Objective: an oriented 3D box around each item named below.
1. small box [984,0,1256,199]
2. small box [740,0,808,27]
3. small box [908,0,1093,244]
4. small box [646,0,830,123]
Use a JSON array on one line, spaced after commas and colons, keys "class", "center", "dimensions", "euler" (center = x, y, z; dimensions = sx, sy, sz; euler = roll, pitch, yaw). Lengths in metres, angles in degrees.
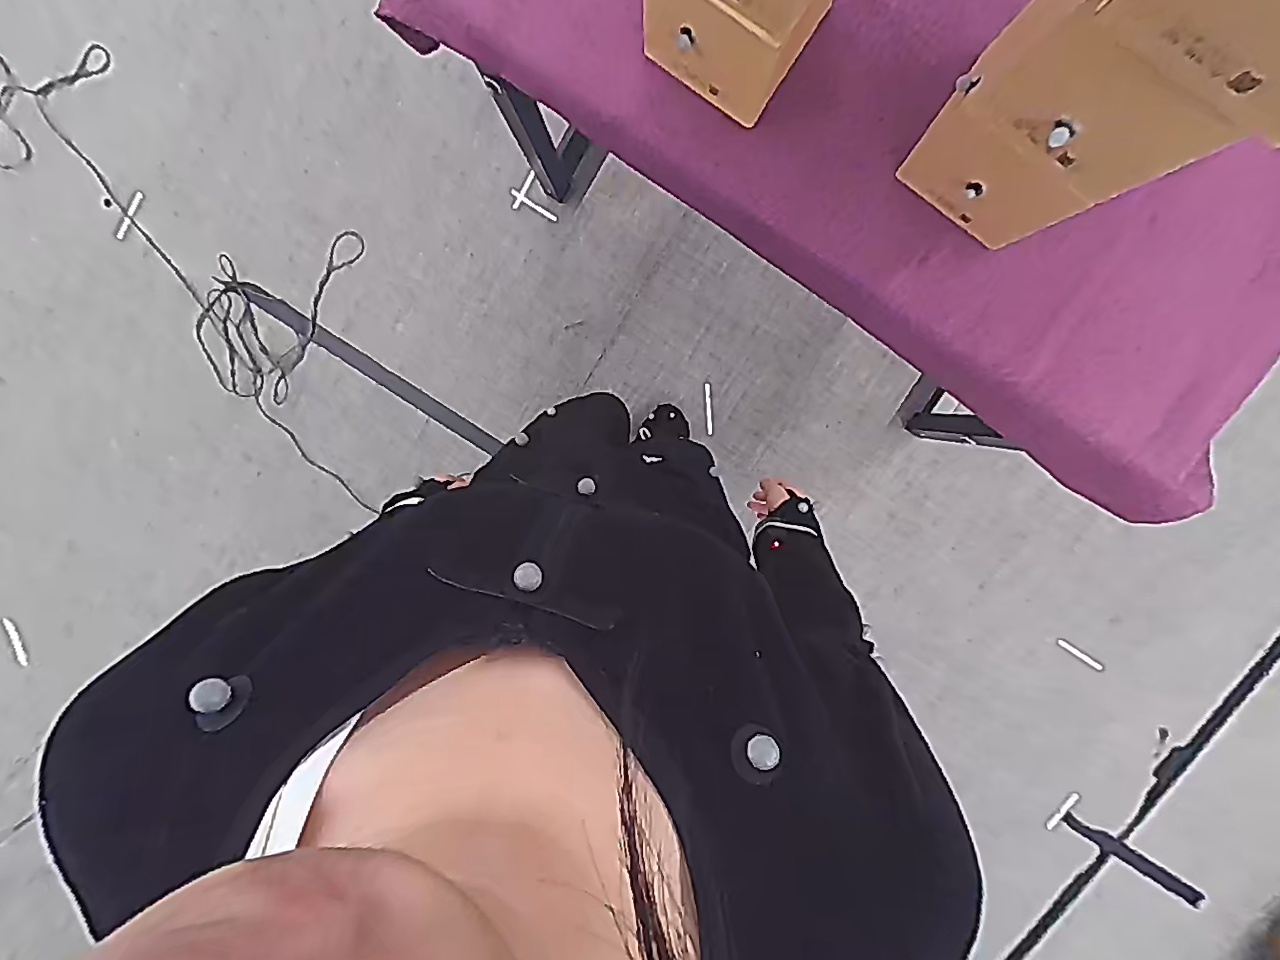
[{"class": "small box", "center": [0.442, -0.381, 0.450], "dimensions": [0.168, 0.176, 0.179], "euler": [35, 98, -3]}, {"class": "small box", "center": [0.118, -0.536, 0.437], "dimensions": [0.168, 0.176, 0.179], "euler": [31, 97, -4]}, {"class": "small box", "center": [0.441, -0.403, 0.613], "dimensions": [0.168, 0.176, 0.179], "euler": [35, 97, -4]}, {"class": "small box", "center": [0.118, -0.552, 0.600], "dimensions": [0.168, 0.176, 0.179], "euler": [34, 96, -4]}]
